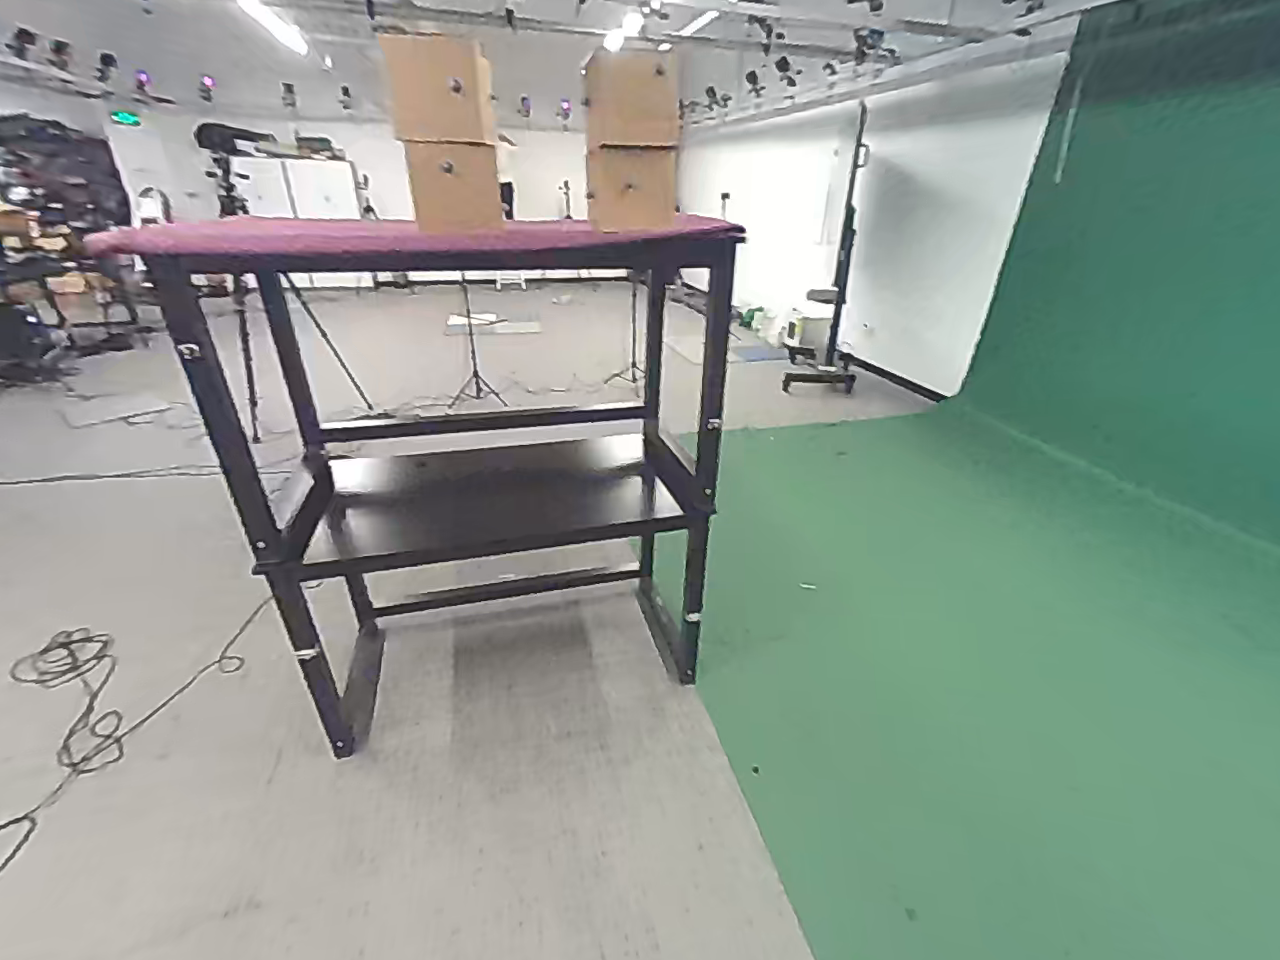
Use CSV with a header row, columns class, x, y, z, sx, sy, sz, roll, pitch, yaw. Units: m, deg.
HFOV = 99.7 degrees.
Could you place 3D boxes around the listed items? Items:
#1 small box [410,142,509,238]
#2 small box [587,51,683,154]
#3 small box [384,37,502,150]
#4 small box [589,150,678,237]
class,x,y,z,sx,sy,sz,roll,pitch,yaw
small box,-0.379,-0.616,1.160,0.179,0.176,0.168,-5,29,-13
small box,-0.013,-0.802,1.175,0.179,0.176,0.168,-7,27,-13
small box,-0.380,-0.759,1.082,0.179,0.176,0.168,-2,27,-4
small box,-0.015,-0.661,1.258,0.179,0.176,0.168,-7,27,-13
